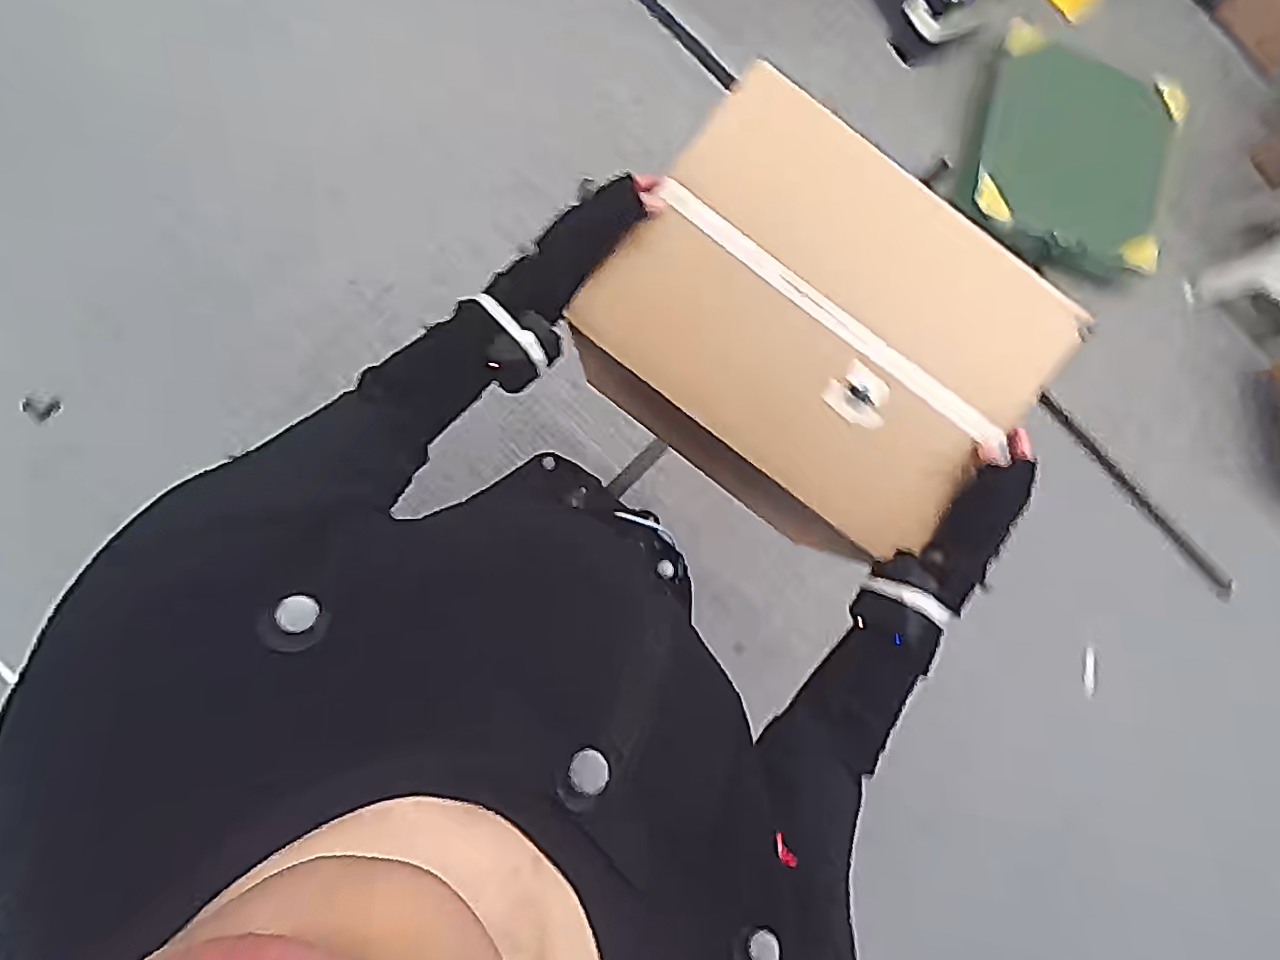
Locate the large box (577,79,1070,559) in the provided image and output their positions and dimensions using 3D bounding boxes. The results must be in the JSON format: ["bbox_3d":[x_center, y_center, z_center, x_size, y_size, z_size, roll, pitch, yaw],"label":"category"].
[{"bbox_3d":[0.175,-0.157,0.676,0.408,0.320,0.320,37,89,-2],"label":"large box"}]
